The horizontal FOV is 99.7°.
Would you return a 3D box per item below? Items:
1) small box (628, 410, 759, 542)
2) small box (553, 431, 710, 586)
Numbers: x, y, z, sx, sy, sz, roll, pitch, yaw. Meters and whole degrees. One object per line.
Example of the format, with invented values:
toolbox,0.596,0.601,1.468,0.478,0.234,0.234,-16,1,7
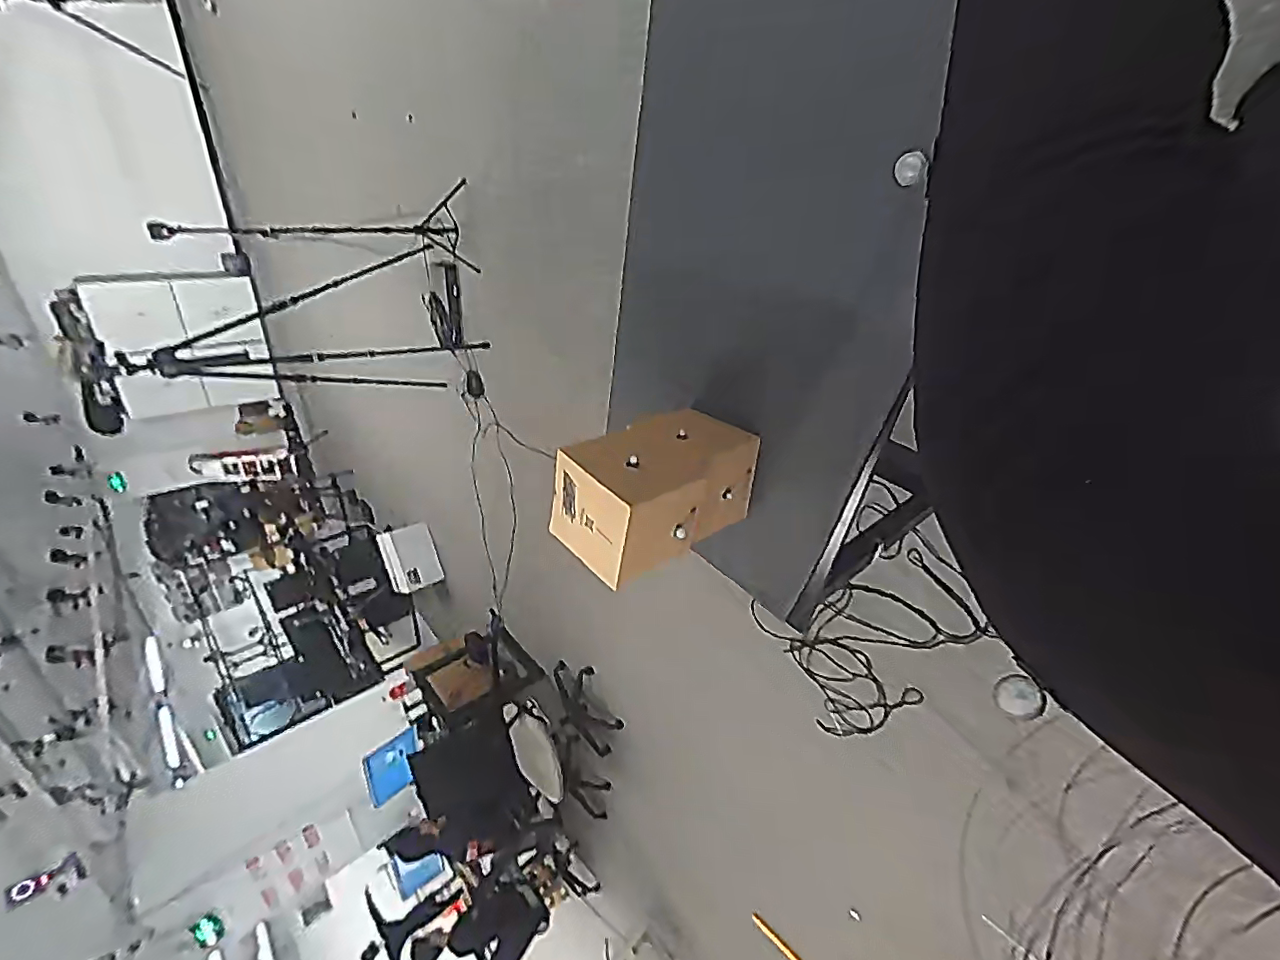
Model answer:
small box,0.092,-0.018,0.983,0.179,0.176,0.168,30,126,40
small box,-0.018,0.034,0.872,0.179,0.176,0.168,36,131,34
